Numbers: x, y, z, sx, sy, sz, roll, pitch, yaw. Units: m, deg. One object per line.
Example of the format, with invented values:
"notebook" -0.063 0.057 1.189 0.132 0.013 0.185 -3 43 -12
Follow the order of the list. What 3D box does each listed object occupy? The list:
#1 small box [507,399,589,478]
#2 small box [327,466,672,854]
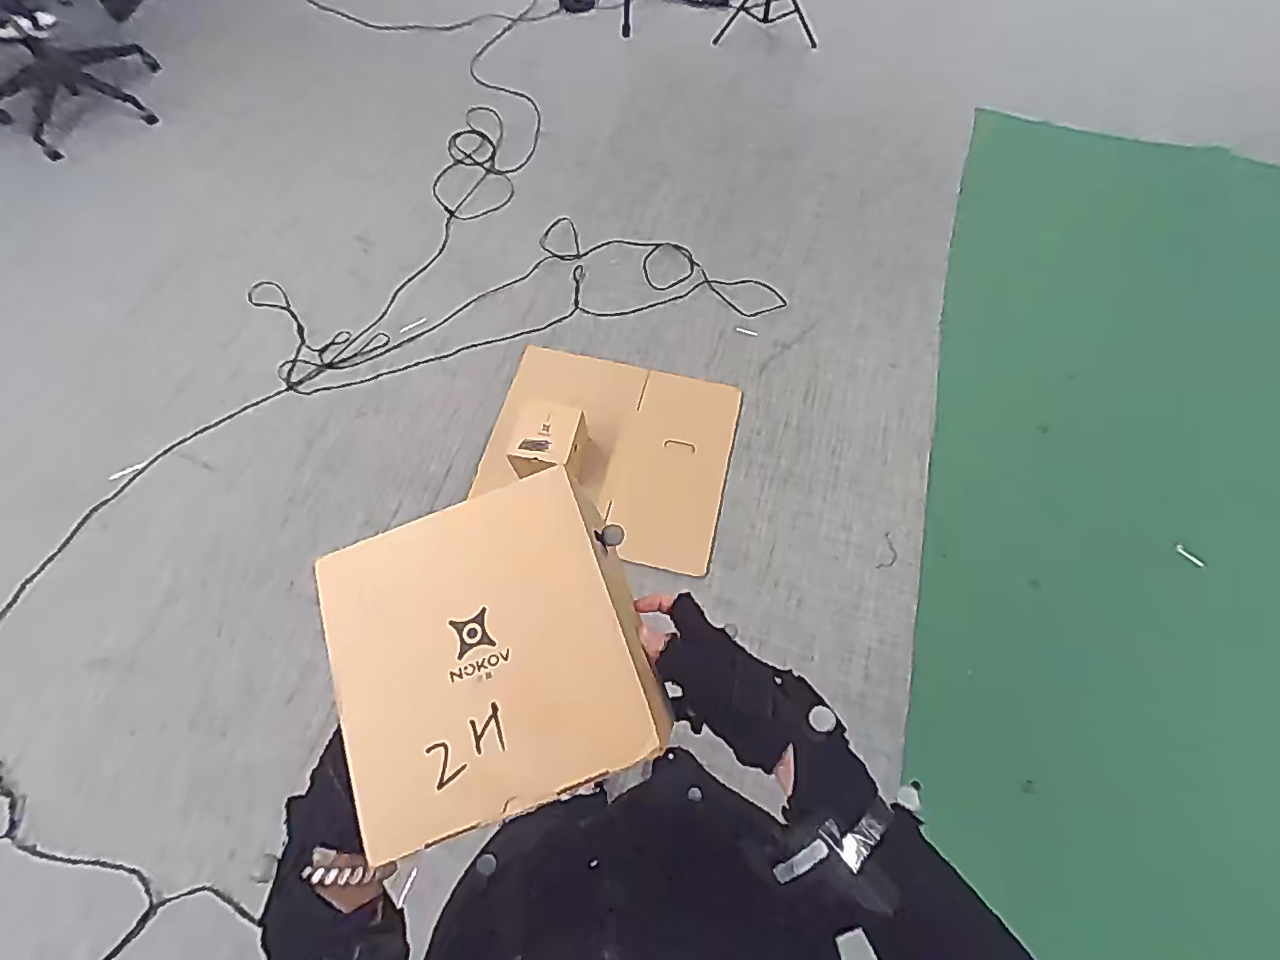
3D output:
"small box" -0.244 -0.095 1.489 0.168 0.176 0.179 11 67 5
"small box" -0.083 0.117 0.386 0.168 0.176 0.179 -21 72 -1
